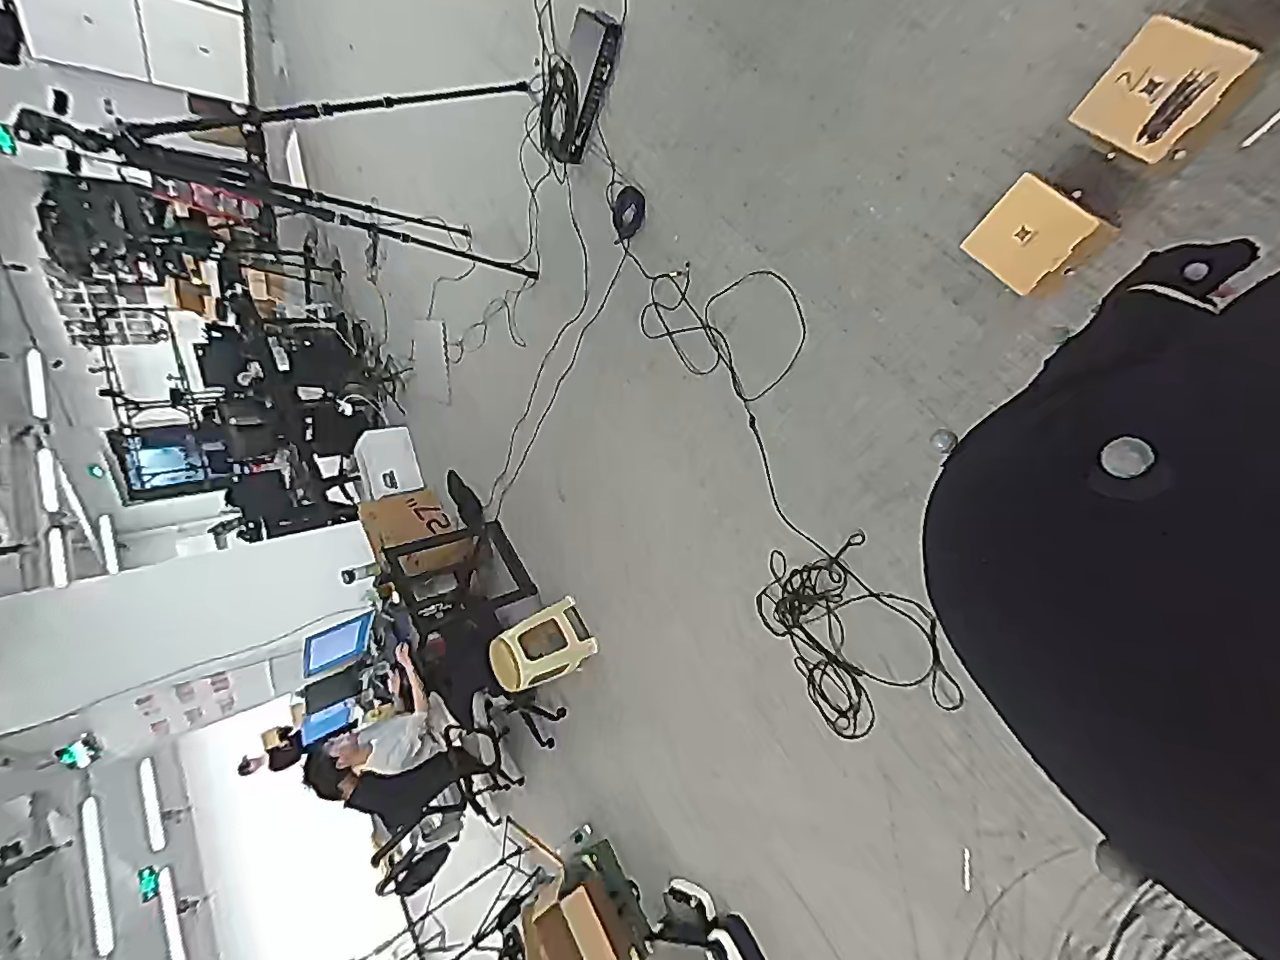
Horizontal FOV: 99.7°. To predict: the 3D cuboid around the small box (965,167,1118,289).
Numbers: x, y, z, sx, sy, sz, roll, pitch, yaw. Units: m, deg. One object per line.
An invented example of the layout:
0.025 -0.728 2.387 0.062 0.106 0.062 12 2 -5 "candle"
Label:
0.838 -0.515 1.131 0.179 0.176 0.168 56 137 23 "small box"
